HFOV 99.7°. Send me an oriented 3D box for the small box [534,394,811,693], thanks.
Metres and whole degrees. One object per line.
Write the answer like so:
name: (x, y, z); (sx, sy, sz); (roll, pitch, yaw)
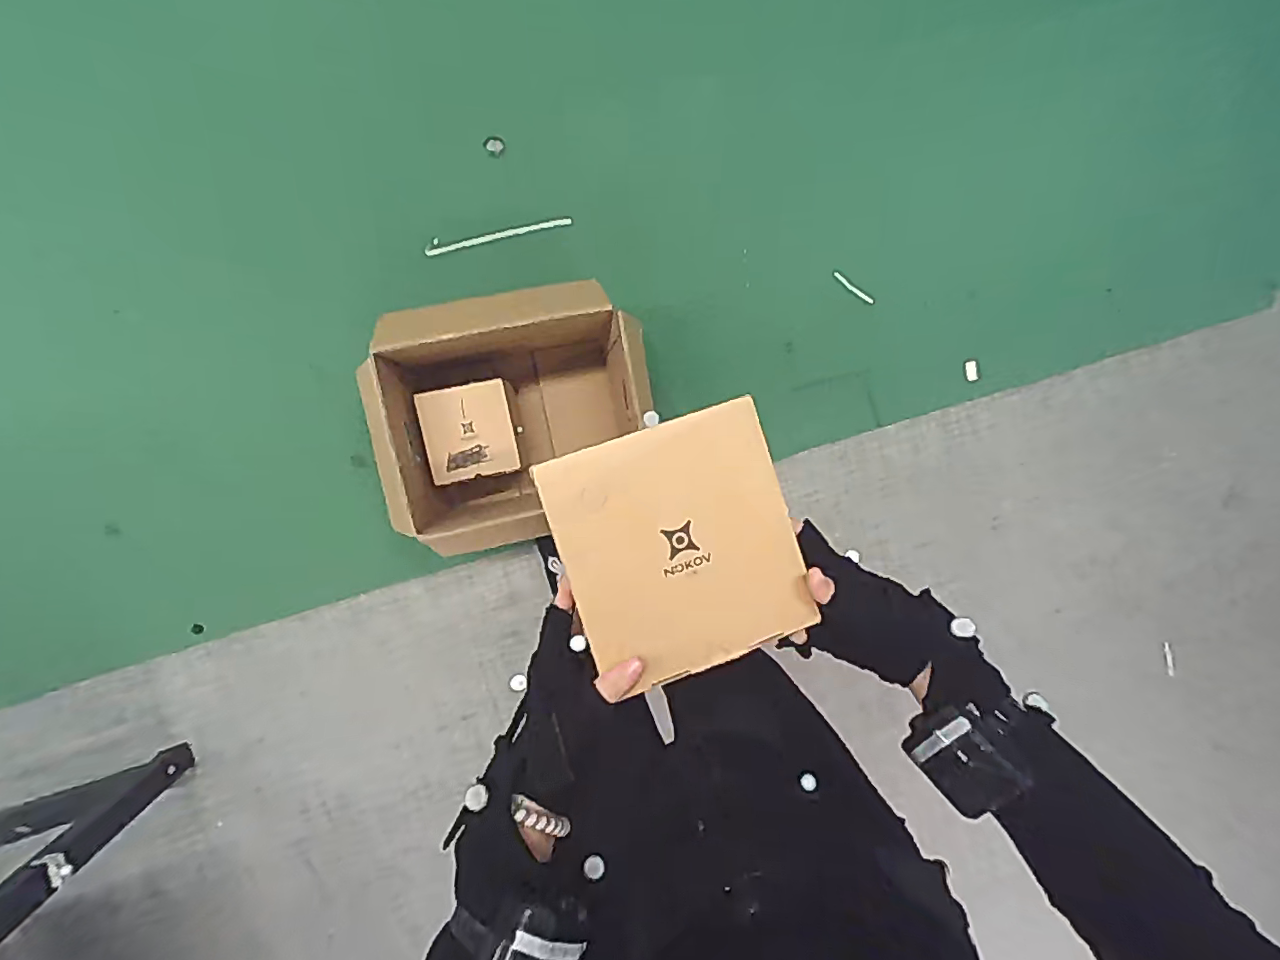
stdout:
small box: (0.013, 0.043, 0.460); (0.168, 0.176, 0.179); (-18, 94, -9)
